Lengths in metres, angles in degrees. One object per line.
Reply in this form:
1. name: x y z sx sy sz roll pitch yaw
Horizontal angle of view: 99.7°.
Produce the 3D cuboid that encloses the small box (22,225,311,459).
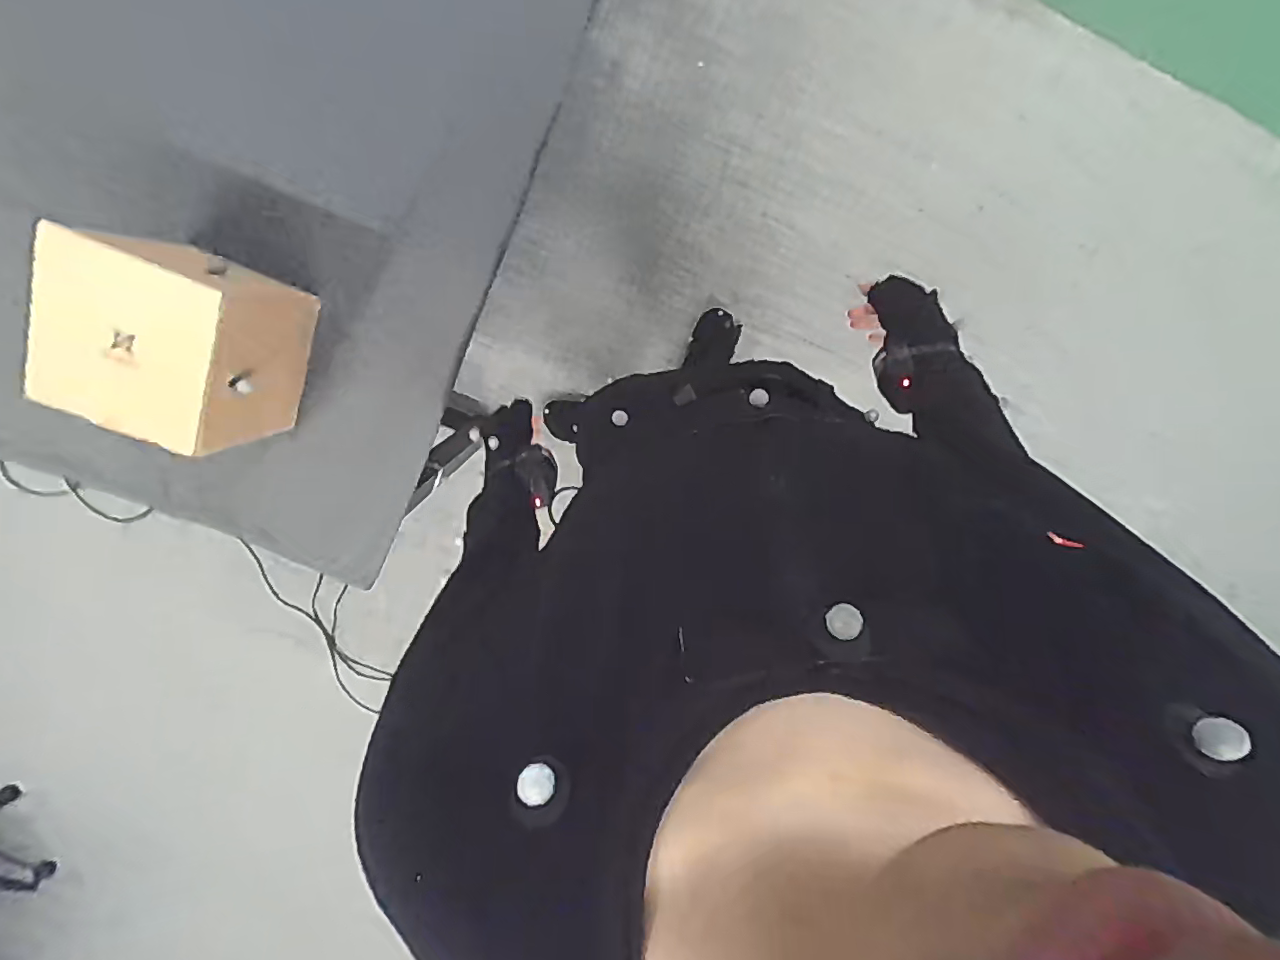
1. small box: -0.497 -0.149 0.592 0.168 0.176 0.179 21 107 -6
